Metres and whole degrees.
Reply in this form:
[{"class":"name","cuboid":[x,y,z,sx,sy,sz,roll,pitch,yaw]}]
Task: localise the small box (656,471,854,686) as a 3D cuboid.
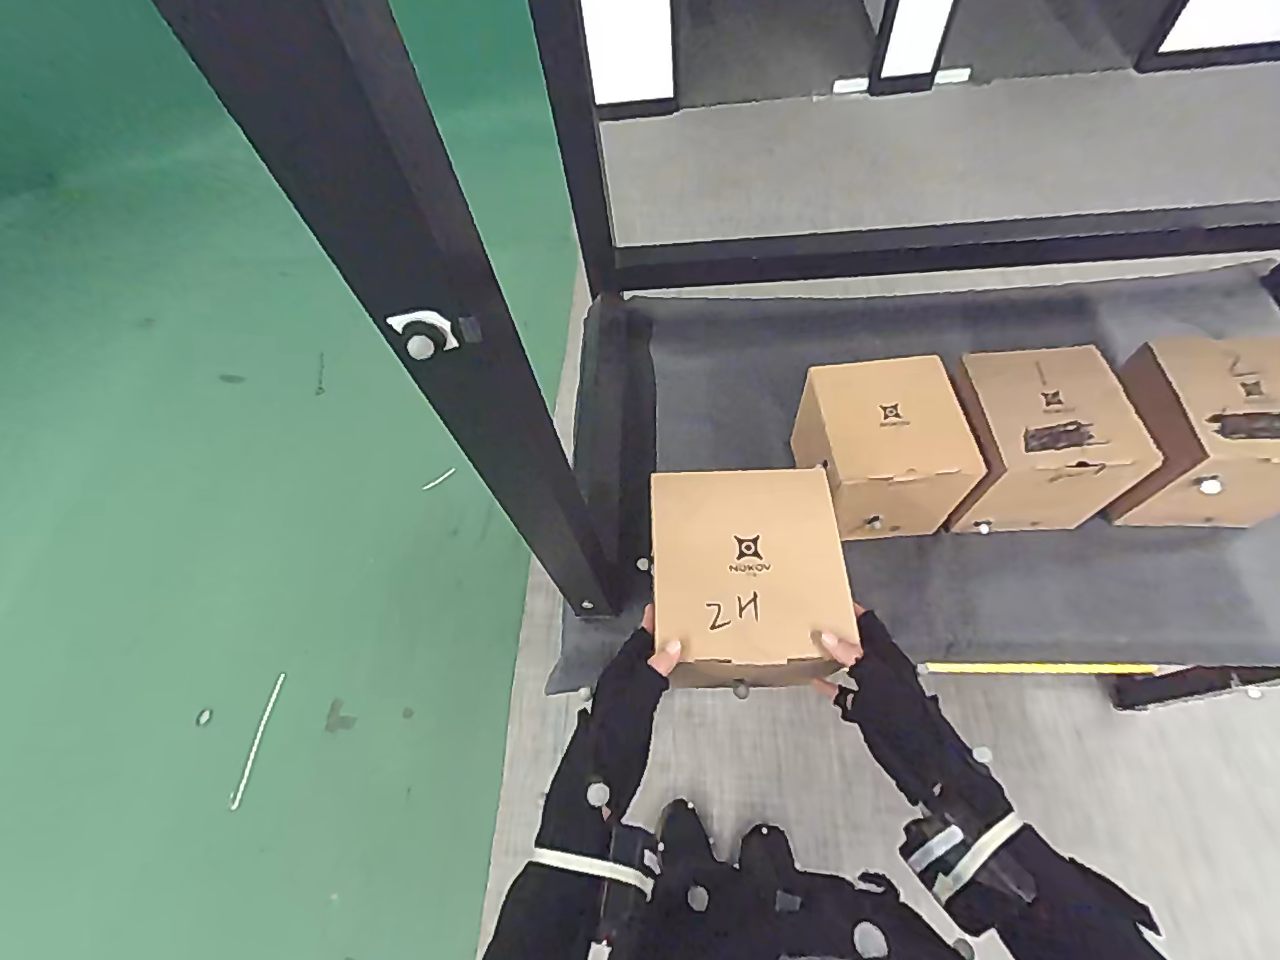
[{"class":"small box","cuboid":[0.099,0.107,0.558,0.168,0.176,0.179,-2,61,3]}]
